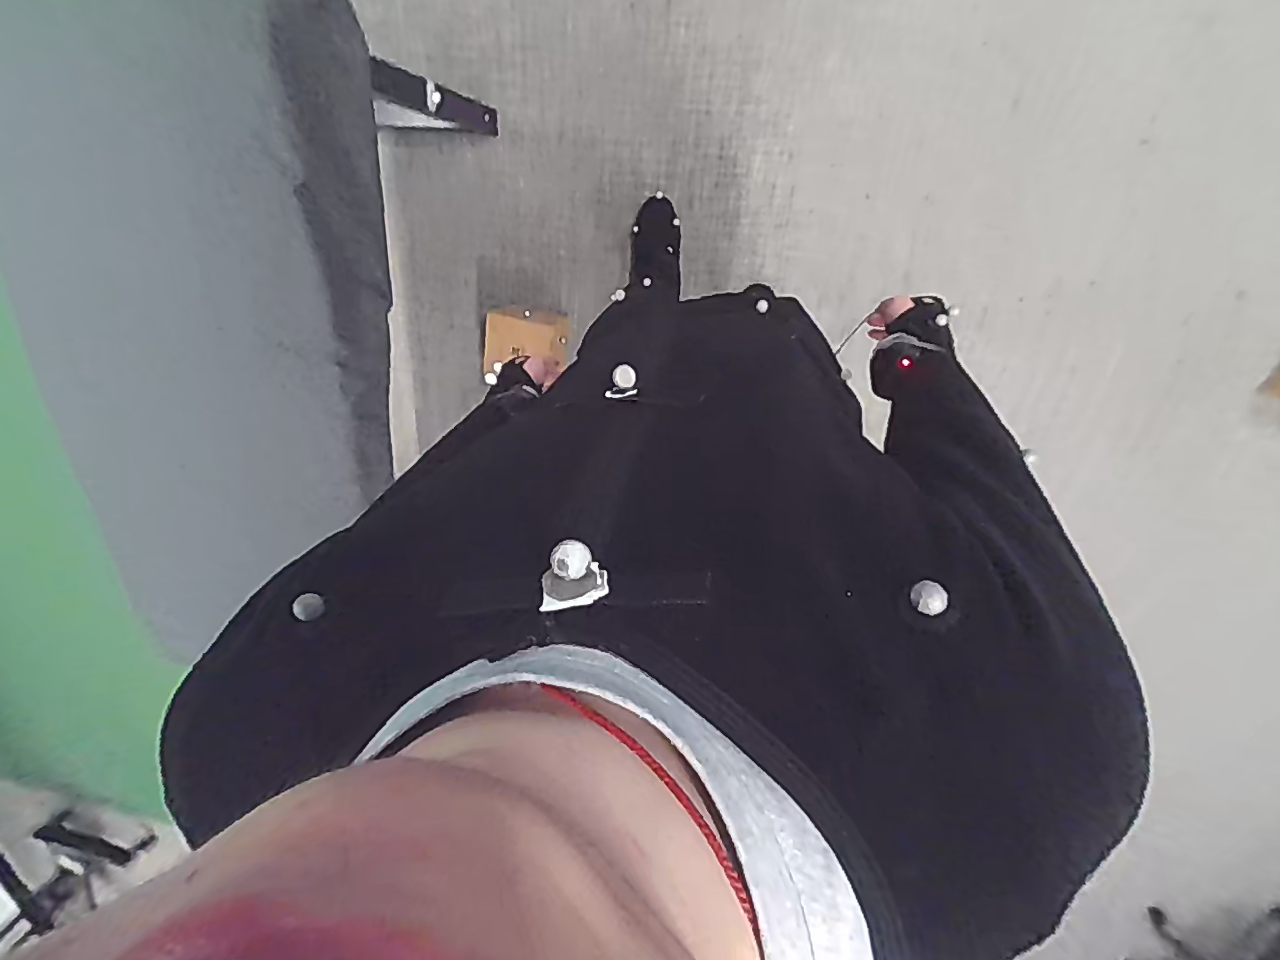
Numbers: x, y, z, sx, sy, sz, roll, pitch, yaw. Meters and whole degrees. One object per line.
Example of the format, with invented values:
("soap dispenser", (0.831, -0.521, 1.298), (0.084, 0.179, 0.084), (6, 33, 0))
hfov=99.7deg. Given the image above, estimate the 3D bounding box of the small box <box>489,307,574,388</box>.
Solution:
("small box", (-0.288, -0.361, 1.453), (0.179, 0.176, 0.168), (13, 116, 6))
